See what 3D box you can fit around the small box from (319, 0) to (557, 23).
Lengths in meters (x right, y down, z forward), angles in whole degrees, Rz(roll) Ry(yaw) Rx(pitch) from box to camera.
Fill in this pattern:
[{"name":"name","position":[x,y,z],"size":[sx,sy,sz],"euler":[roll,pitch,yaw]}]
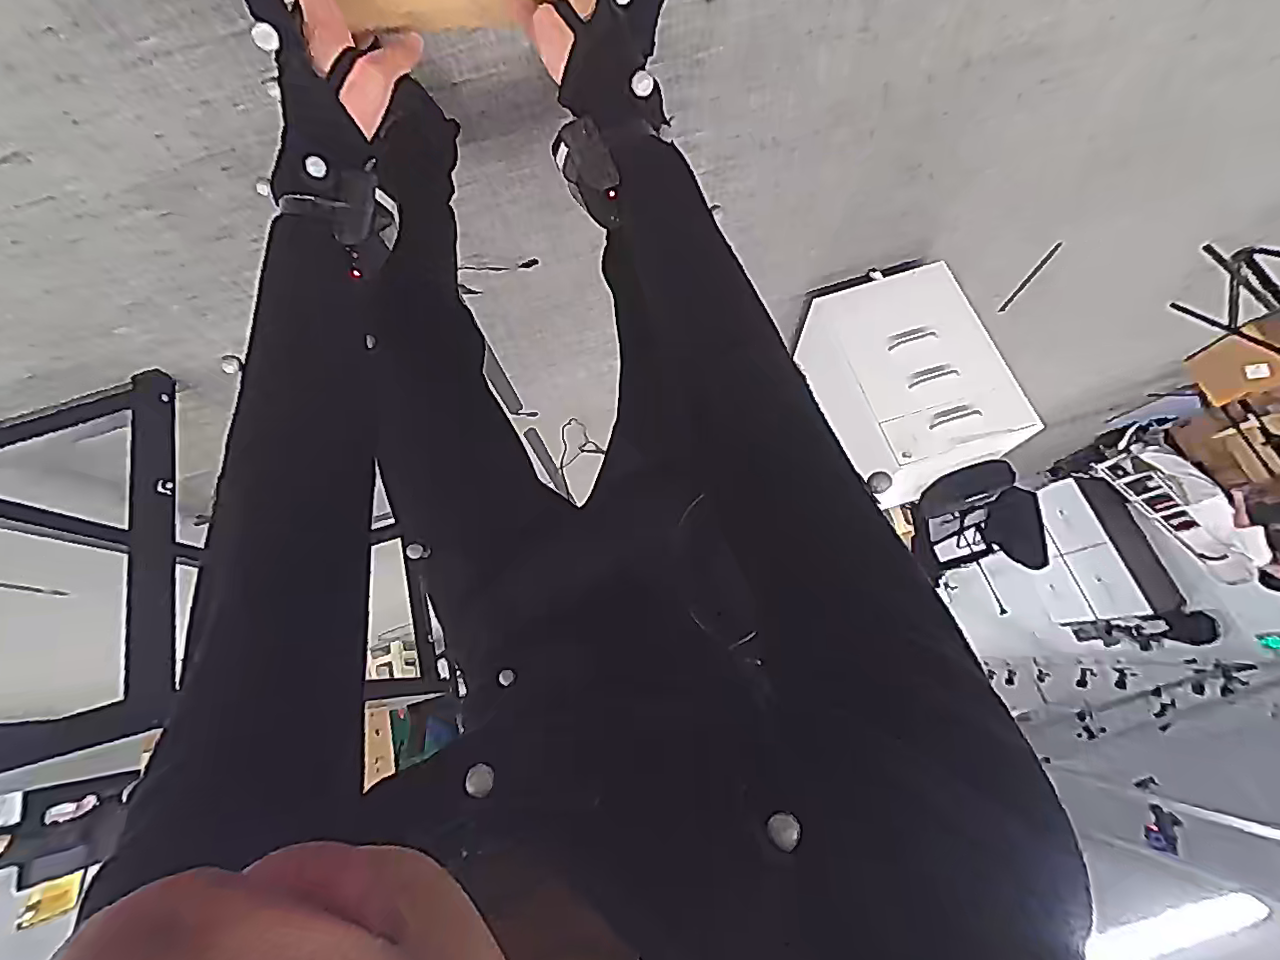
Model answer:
[{"name":"small box","position":[-0.164,-0.462,0.376],"size":[0.179,0.176,0.168],"euler":[-13,156,-10]}]

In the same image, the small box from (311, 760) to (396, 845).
[{"name":"small box","position":[-0.876,0.977,1.654],"size":[0.179,0.176,0.168],"euler":[-17,161,-1]}]

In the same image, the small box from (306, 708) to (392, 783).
[{"name":"small box","position":[-0.920,0.827,1.709],"size":[0.179,0.176,0.168],"euler":[-18,161,0]}]
